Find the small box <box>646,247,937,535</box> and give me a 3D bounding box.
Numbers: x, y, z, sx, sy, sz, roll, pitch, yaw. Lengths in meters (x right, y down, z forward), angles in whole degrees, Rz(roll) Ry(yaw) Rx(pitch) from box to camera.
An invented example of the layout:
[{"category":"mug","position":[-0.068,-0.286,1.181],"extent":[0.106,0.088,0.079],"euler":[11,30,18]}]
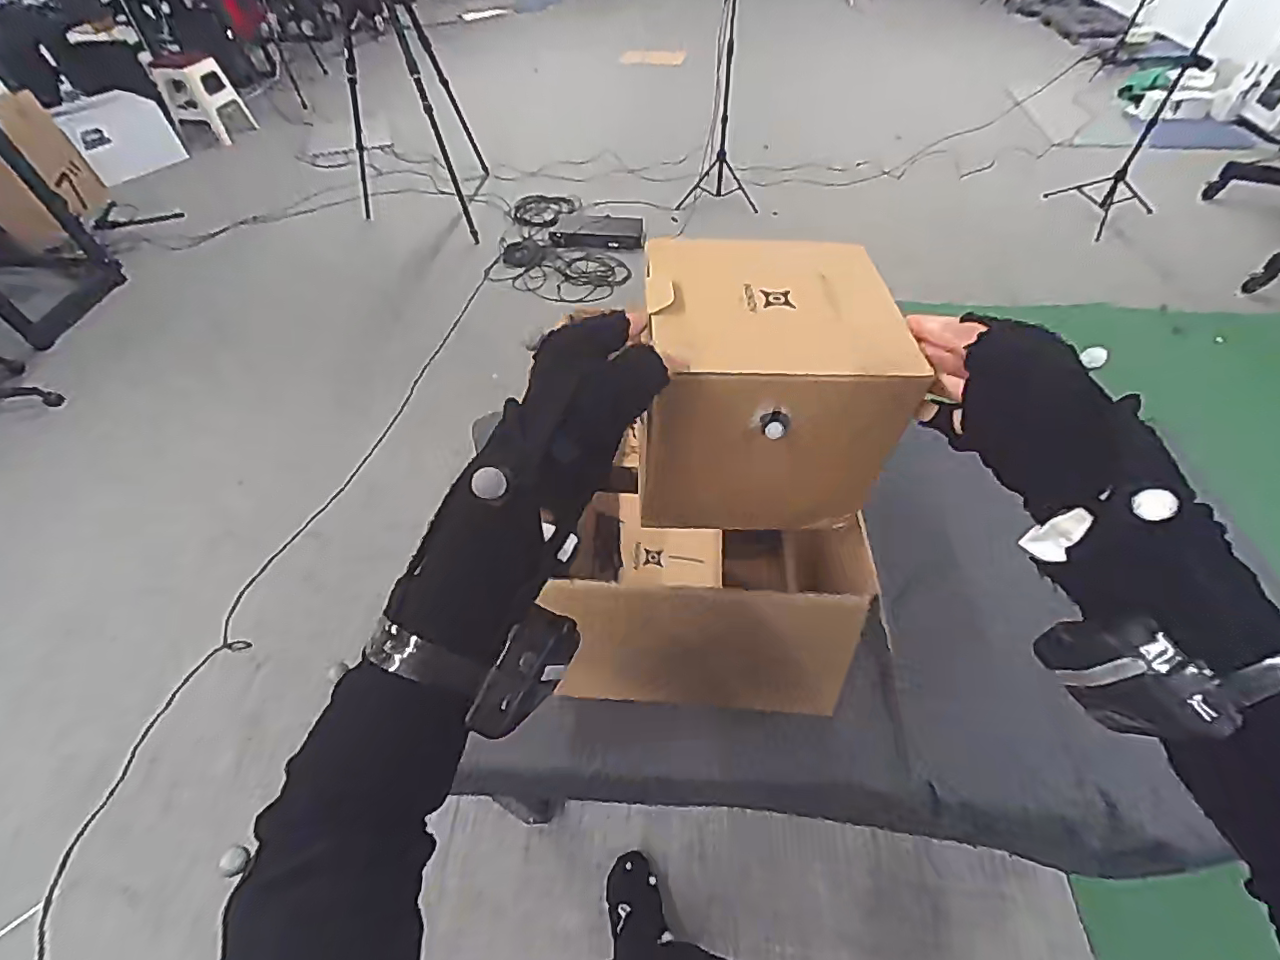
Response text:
[{"category":"small box","position":[0.094,-0.068,0.440],"extent":[0.179,0.176,0.168],"euler":[1,51,-3]}]
